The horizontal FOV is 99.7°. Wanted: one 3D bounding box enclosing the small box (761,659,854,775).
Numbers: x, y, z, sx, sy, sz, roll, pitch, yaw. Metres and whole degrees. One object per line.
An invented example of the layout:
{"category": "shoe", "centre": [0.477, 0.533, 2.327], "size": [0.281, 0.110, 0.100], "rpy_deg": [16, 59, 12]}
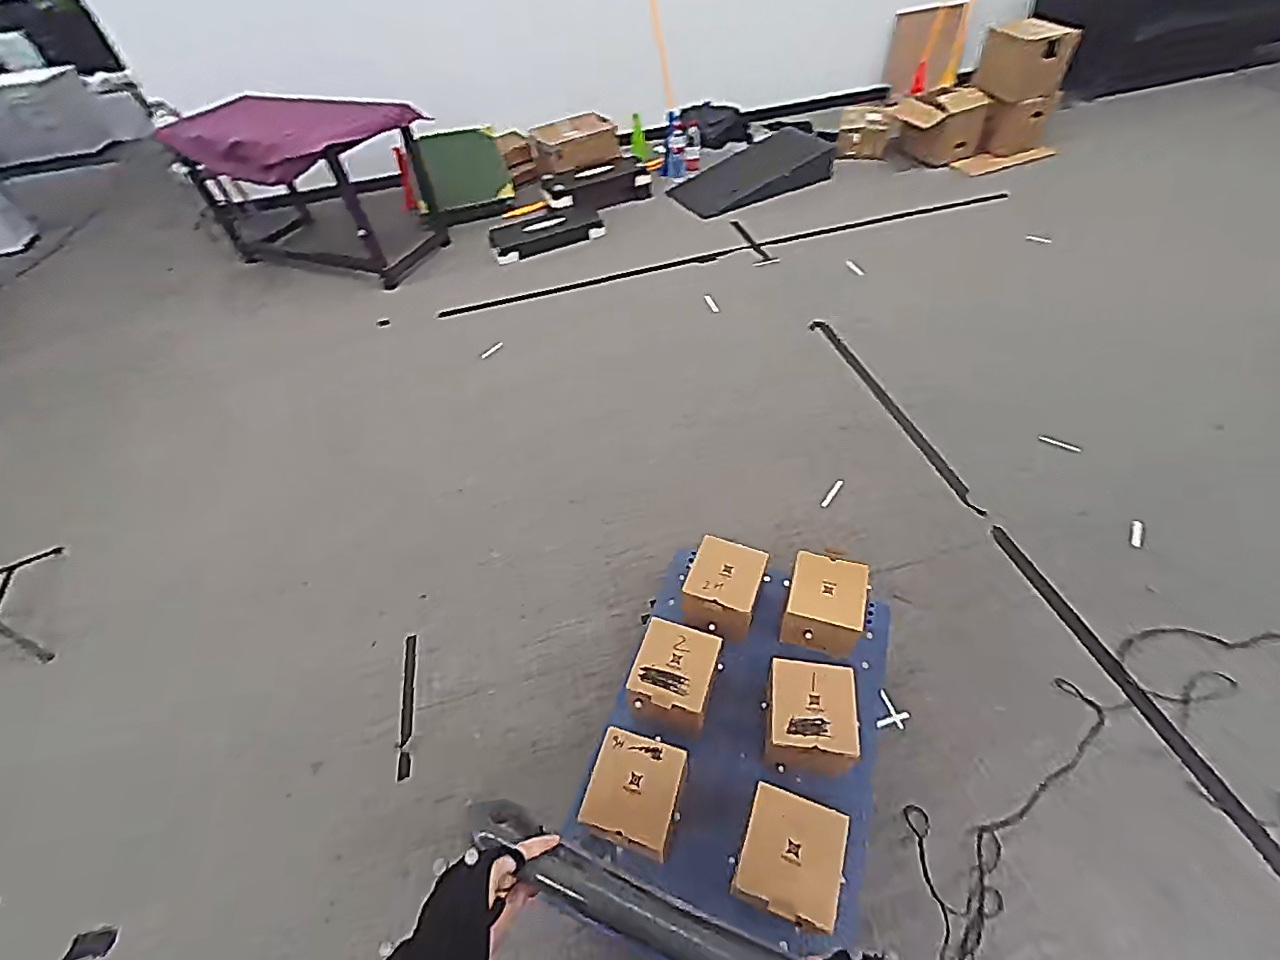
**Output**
{"category": "small box", "centre": [0.351, 0.509, 1.154], "size": [0.168, 0.176, 0.179], "rpy_deg": [5, 49, 10]}

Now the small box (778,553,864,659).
{"category": "small box", "centre": [0.437, 0.309, 1.318], "size": [0.168, 0.176, 0.179], "rpy_deg": [12, 52, 15]}

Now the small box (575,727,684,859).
{"category": "small box", "centre": [-0.010, 0.630, 1.083], "size": [0.168, 0.176, 0.179], "rpy_deg": [12, 52, 14]}

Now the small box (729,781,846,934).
{"category": "small box", "centre": [0.267, 0.699, 1.000], "size": [0.168, 0.176, 0.179], "rpy_deg": [16, 52, 17]}

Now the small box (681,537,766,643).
{"category": "small box", "centre": [0.208, 0.279, 1.362], "size": [0.168, 0.176, 0.179], "rpy_deg": [16, 53, 18]}
